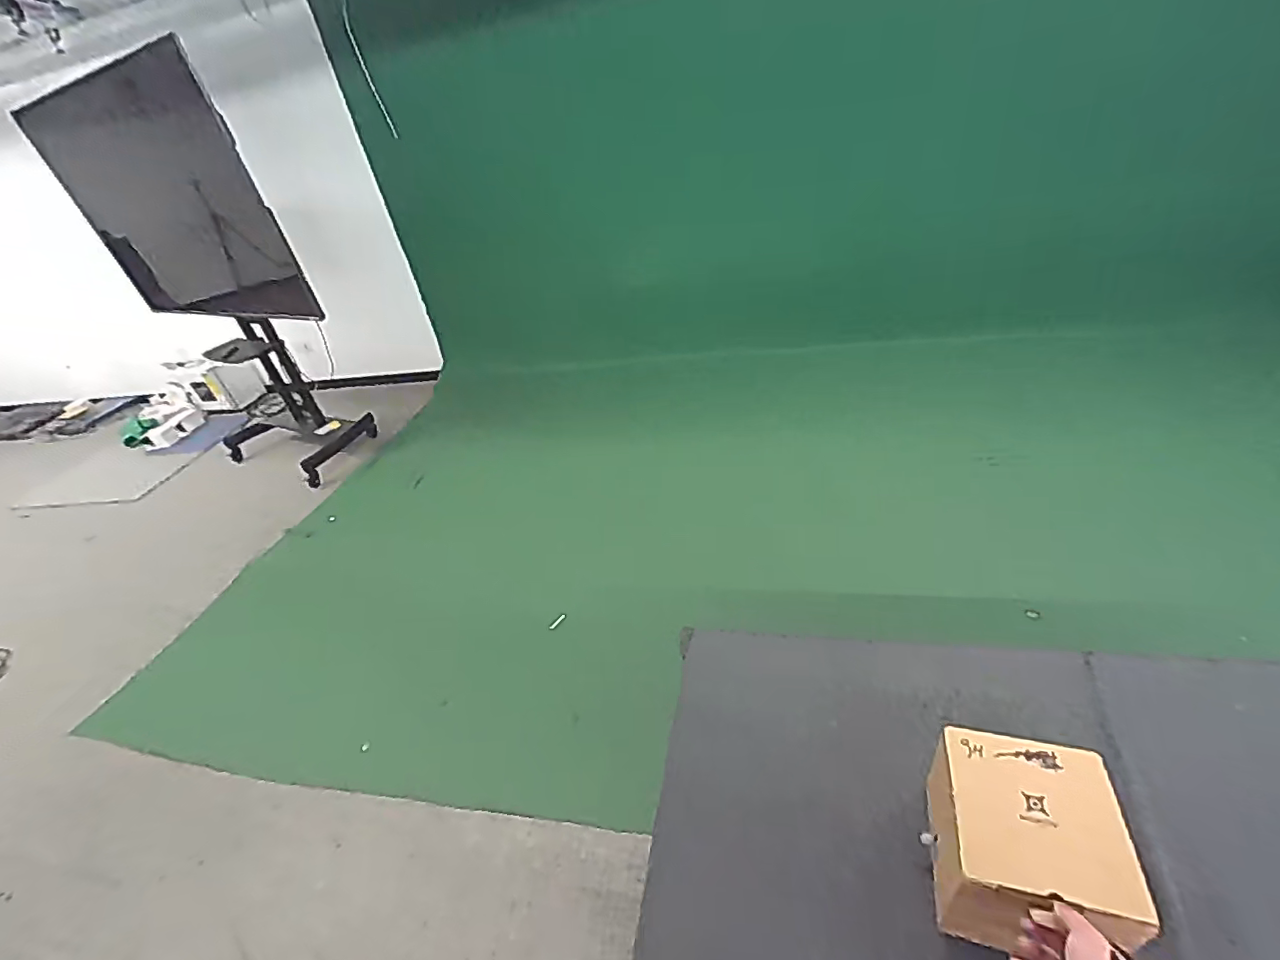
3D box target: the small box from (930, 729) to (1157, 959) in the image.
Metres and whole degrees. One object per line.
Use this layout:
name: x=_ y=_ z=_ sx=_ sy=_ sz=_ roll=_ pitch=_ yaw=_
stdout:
small box: x=0.457 y=0.437 z=0.648 sx=0.168 sy=0.176 sz=0.179 roll=0 pitch=35 yaw=19
